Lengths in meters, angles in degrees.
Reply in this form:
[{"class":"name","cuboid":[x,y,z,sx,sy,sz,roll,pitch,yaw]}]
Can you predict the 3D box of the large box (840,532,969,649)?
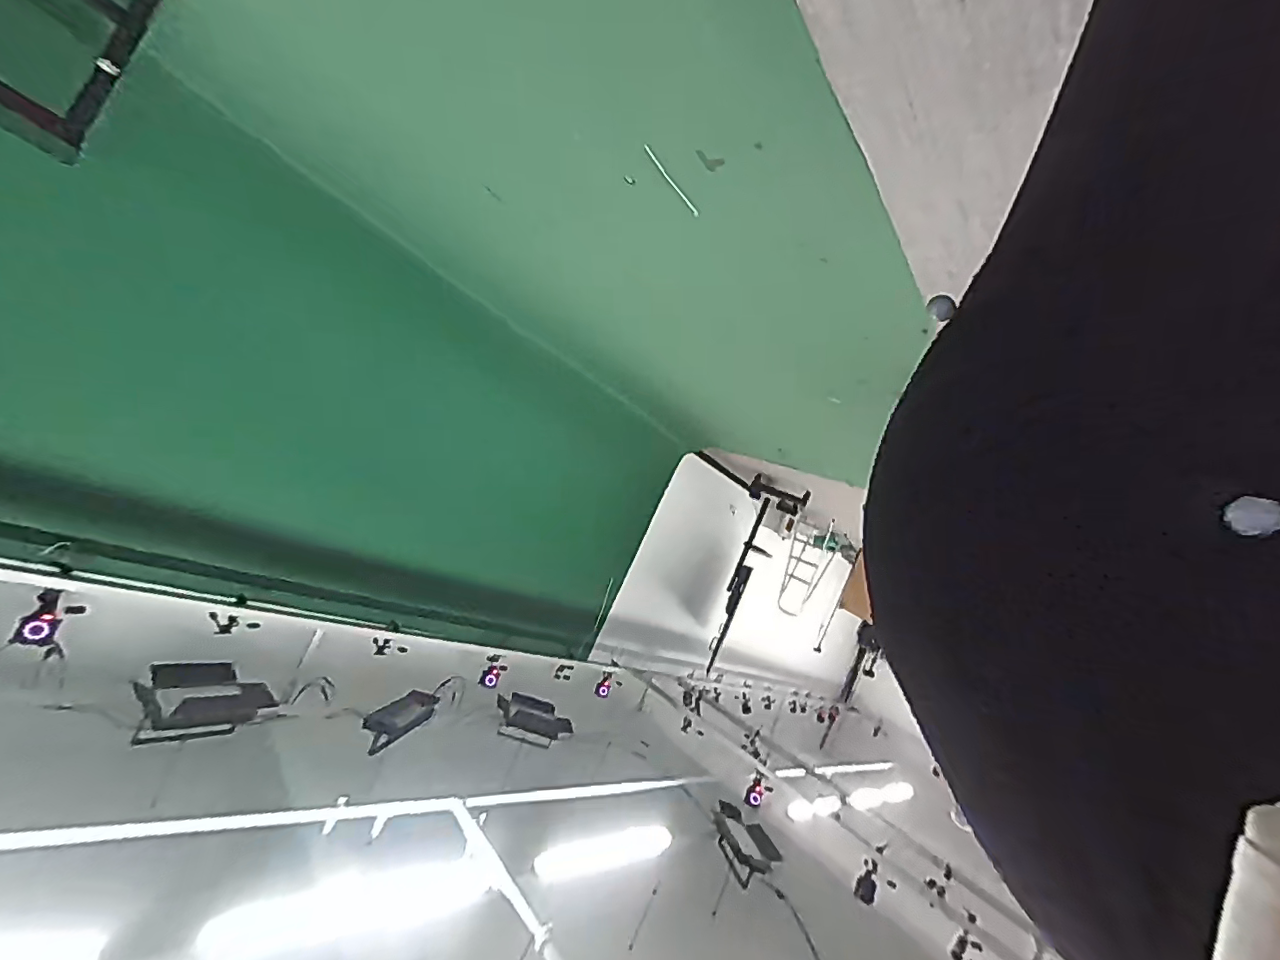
[{"class":"large box","cuboid":[1.062,0.441,2.150,0.320,0.320,0.408,17,171,43]}]
